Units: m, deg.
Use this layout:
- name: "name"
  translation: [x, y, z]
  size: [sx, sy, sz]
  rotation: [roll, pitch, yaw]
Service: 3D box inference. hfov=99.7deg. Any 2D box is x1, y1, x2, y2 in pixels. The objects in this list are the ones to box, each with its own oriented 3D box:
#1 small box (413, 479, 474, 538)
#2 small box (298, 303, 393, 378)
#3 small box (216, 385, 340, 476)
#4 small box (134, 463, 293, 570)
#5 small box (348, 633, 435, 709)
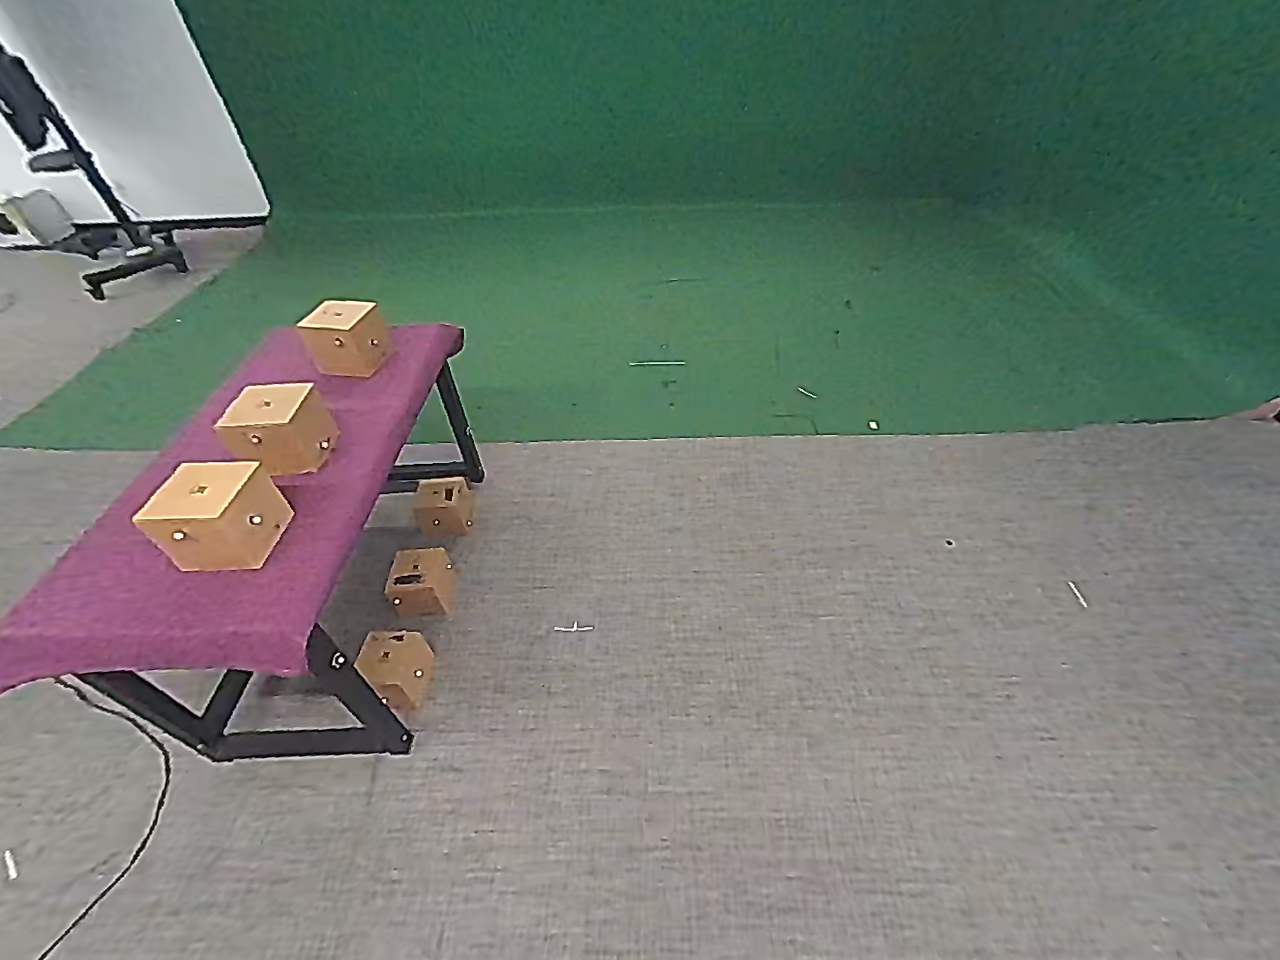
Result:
- name: "small box"
  translation: [-0.778, 0.115, 2.162]
  size: [0.179, 0.176, 0.168]
  rotation: [-5, 44, 0]
- name: "small box"
  translation: [-0.911, -0.434, 1.693]
  size: [0.179, 0.176, 0.168]
  rotation: [5, 45, 9]
- name: "small box"
  translation: [-0.907, -0.122, 1.374]
  size: [0.179, 0.176, 0.168]
  rotation: [-3, 45, 0]
- name: "small box"
  translation: [-0.898, 0.081, 1.164]
  size: [0.179, 0.176, 0.168]
  rotation: [-2, 44, 2]
- name: "small box"
  translation: [-0.755, 0.593, 1.669]
  size: [0.168, 0.176, 0.179]
  rotation: [0, 45, 3]
